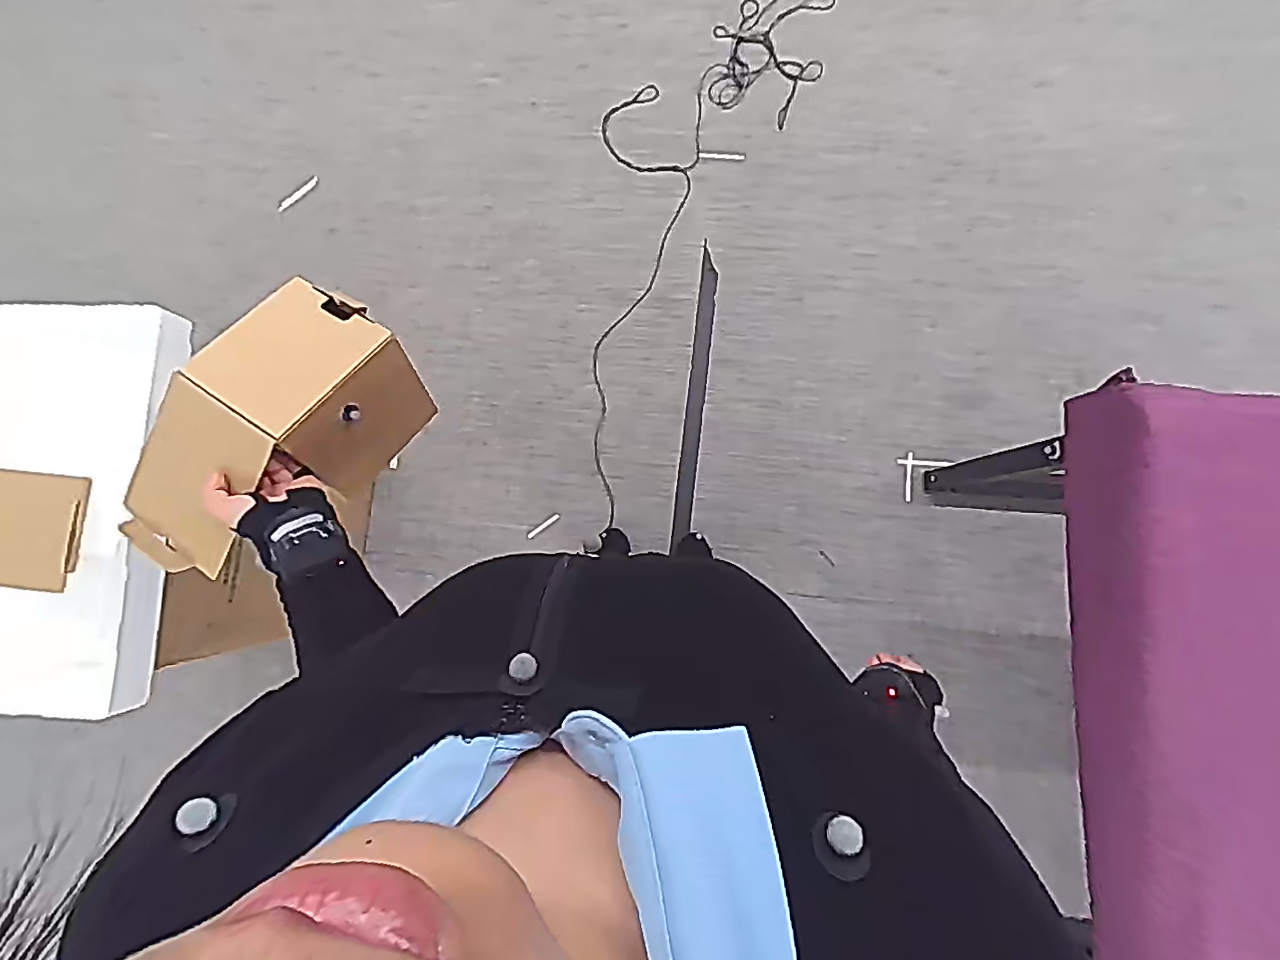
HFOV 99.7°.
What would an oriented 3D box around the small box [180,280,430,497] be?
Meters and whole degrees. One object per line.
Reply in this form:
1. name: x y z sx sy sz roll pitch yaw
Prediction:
1. small box: -0.401 -0.107 0.686 0.168 0.176 0.179 31 67 13
